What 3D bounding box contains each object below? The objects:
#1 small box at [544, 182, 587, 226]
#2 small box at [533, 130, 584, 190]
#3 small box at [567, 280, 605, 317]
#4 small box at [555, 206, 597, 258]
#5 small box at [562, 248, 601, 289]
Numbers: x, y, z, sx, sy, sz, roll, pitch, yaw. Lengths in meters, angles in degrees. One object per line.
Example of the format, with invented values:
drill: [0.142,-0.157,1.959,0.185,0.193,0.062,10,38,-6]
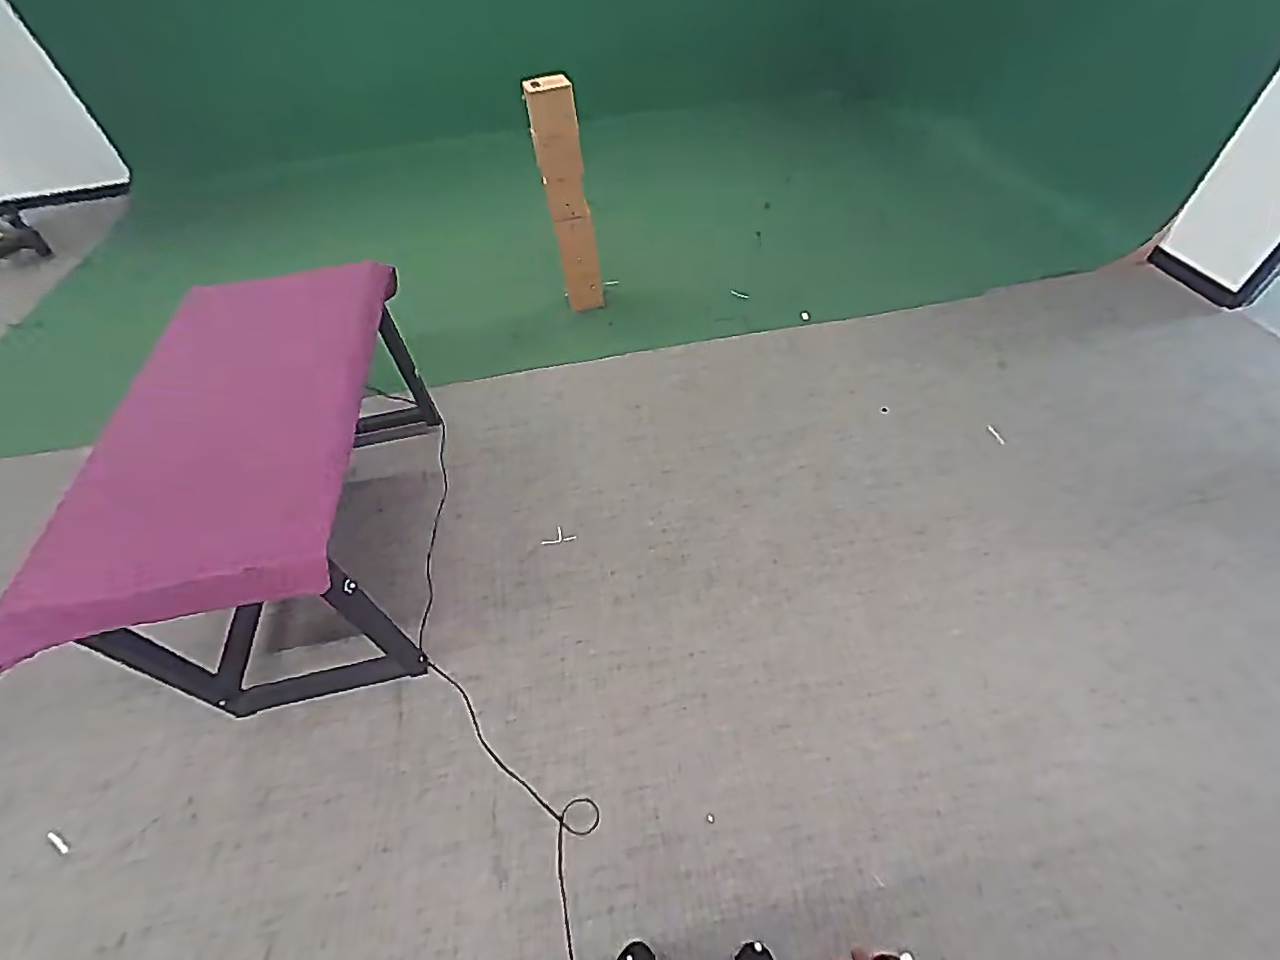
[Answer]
small box: [-0.341,-1.289,2.488,0.168,0.176,0.179,-11,51,-3]
small box: [-0.351,-1.402,2.370,0.179,0.176,0.168,-18,50,-8]
small box: [-0.287,-0.992,2.873,0.179,0.176,0.168,-13,50,-6]
small box: [-0.316,-1.197,2.622,0.179,0.176,0.168,-13,51,-6]
small box: [-0.298,-1.096,2.749,0.179,0.176,0.168,-12,51,-4]
